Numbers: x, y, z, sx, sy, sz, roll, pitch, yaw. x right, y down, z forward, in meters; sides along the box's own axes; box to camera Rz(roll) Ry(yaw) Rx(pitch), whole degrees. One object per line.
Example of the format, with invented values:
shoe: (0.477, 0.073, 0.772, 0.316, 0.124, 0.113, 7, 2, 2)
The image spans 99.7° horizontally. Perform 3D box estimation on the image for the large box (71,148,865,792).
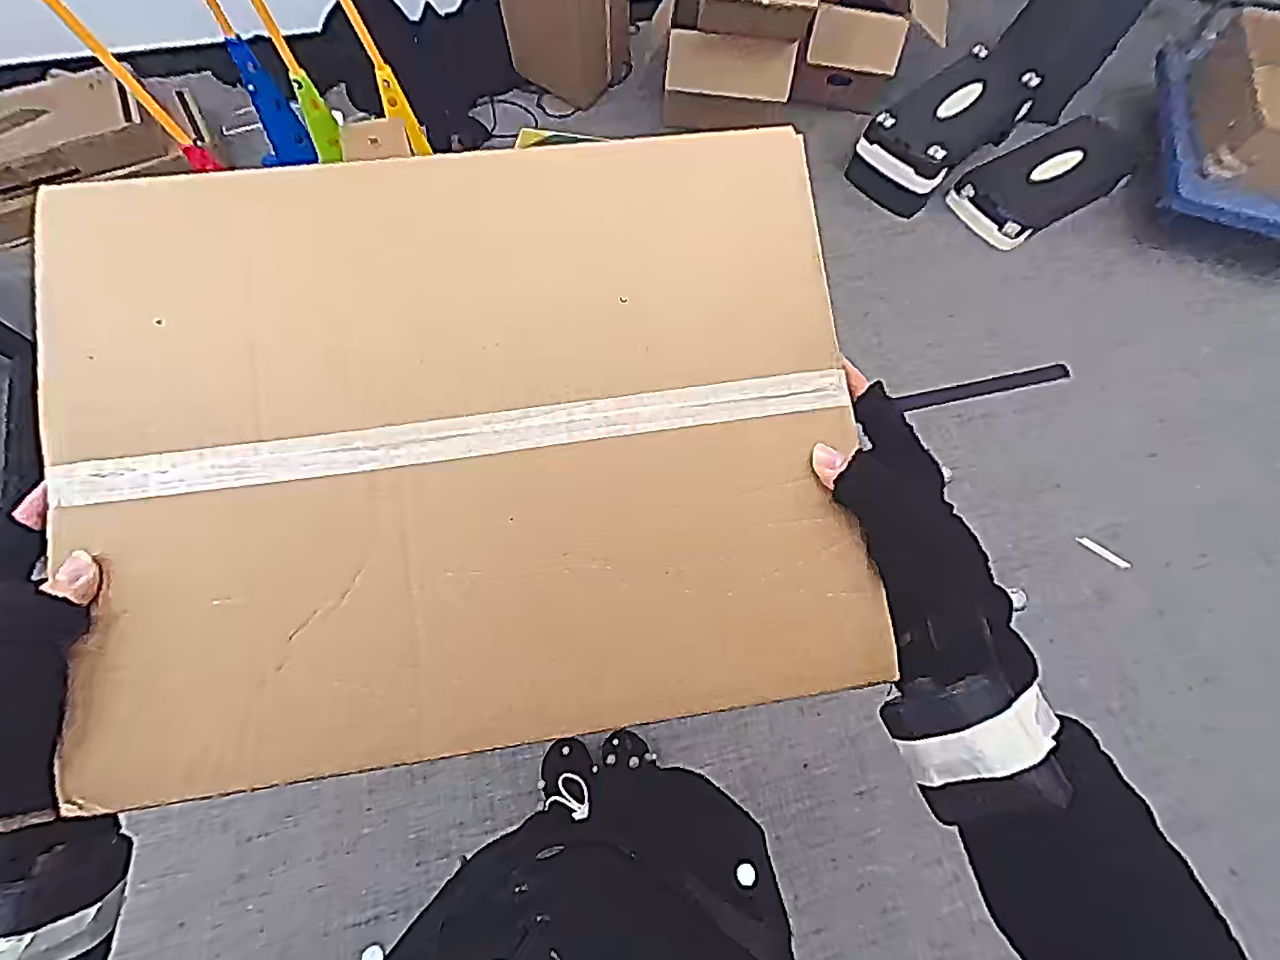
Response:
large box: (-0.100, -0.009, 0.442, 0.408, 0.320, 0.320, -7, 84, -5)
